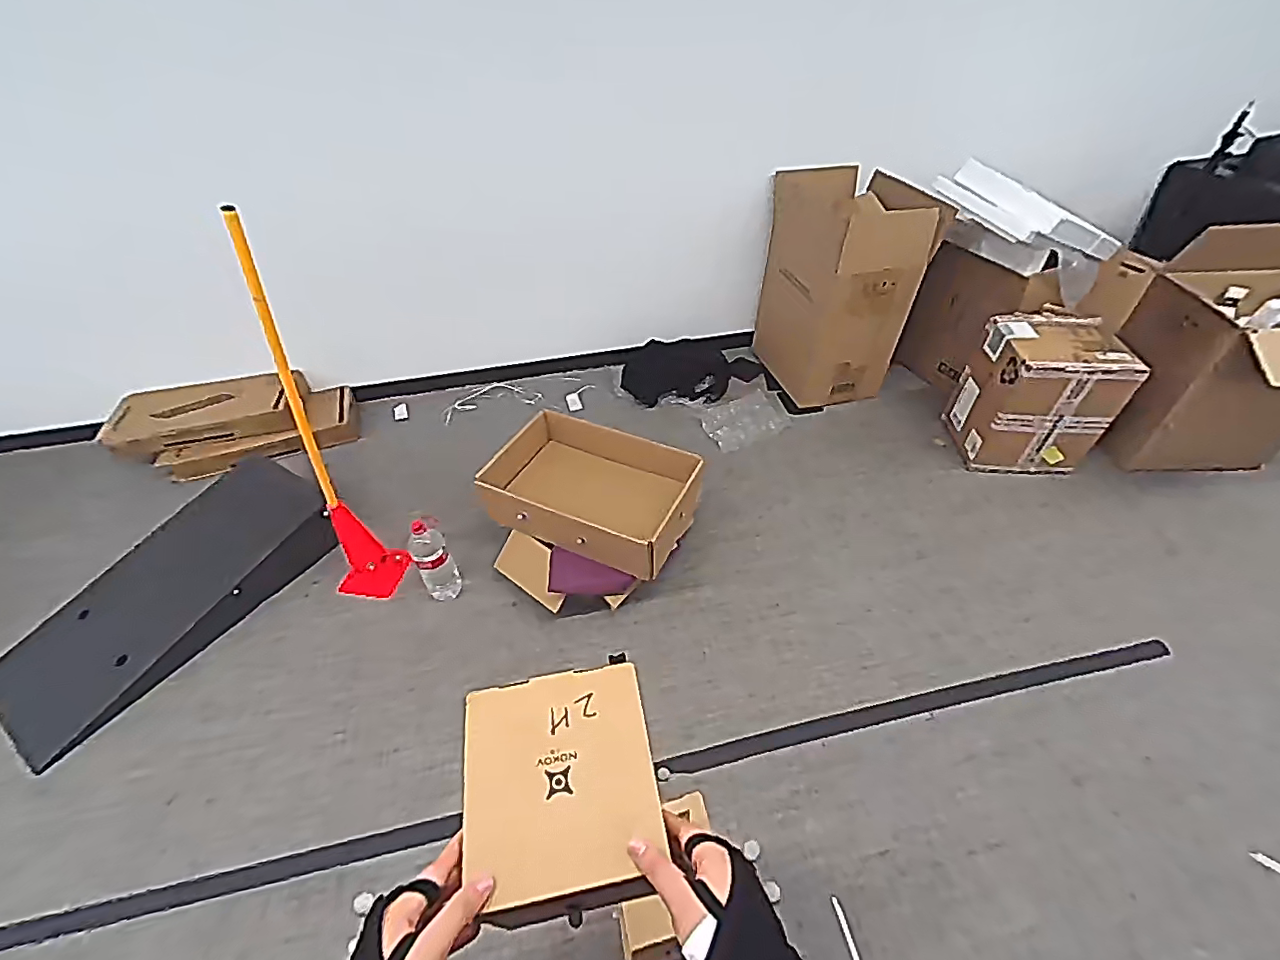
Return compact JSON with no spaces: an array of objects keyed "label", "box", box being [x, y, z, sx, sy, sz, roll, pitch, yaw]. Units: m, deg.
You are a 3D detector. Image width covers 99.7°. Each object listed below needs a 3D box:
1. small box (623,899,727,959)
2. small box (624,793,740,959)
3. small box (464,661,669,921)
[{"label":"small box","box":[0.053,0.780,1.013,0.168,0.176,0.179,-11,43,-9]},{"label":"small box","box":[0.052,0.660,0.900,0.168,0.176,0.179,-11,45,-9]},{"label":"small box","box":[-0.067,0.309,0.533,0.168,0.176,0.179,-10,47,-6]}]
